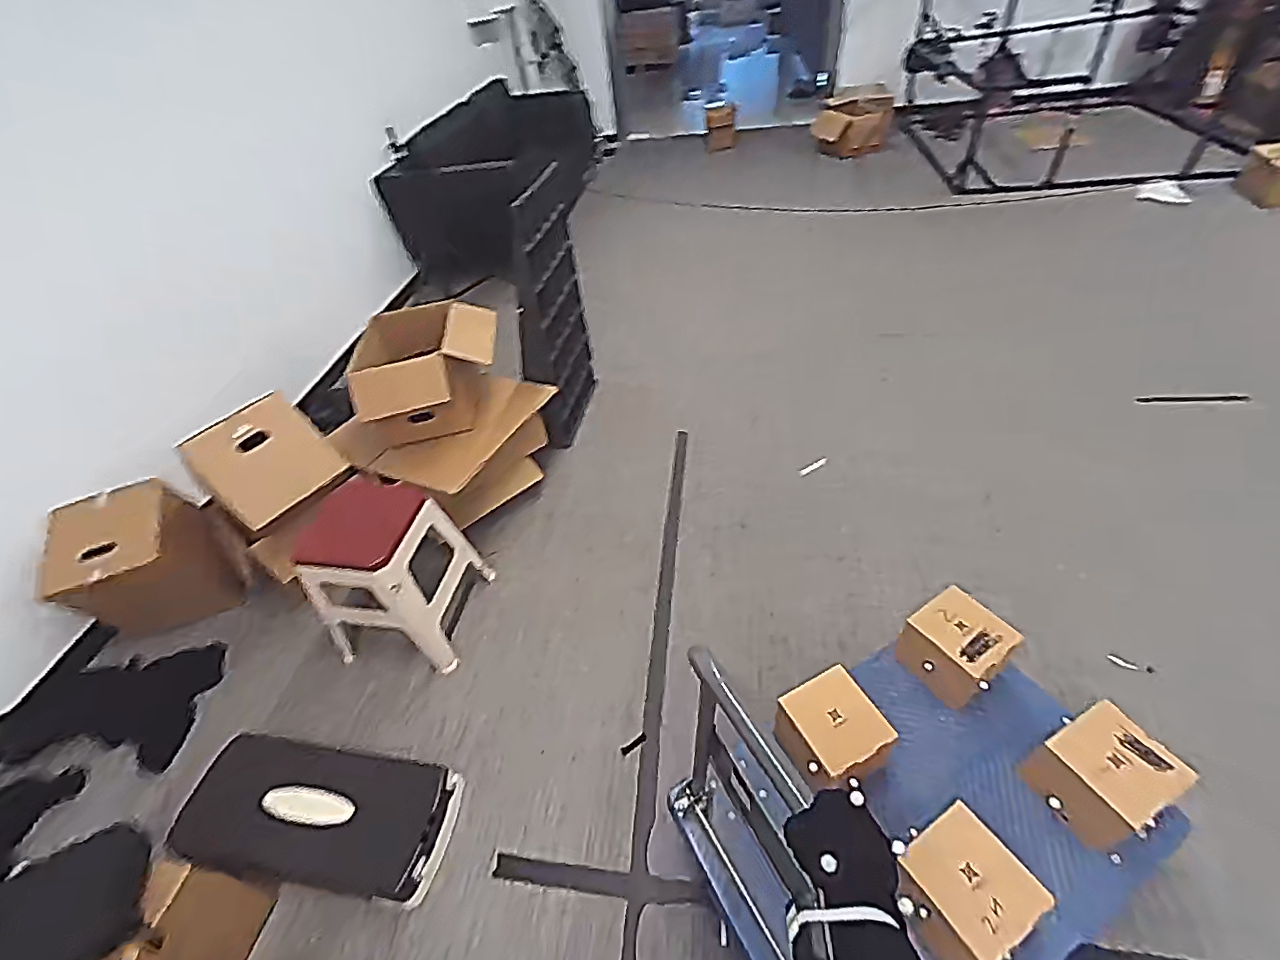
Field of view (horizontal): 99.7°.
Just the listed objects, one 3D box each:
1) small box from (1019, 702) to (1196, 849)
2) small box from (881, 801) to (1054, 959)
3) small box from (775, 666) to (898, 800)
[{"bbox_3d":[0.887,0.572,1.048,0.179,0.176,0.168,-24,46,-14],"label":"small box"},{"bbox_3d":[0.557,0.715,0.947,0.168,0.176,0.179,-26,47,-18],"label":"small box"},{"bbox_3d":[0.406,0.539,1.153,0.168,0.176,0.179,-22,47,-15],"label":"small box"}]
